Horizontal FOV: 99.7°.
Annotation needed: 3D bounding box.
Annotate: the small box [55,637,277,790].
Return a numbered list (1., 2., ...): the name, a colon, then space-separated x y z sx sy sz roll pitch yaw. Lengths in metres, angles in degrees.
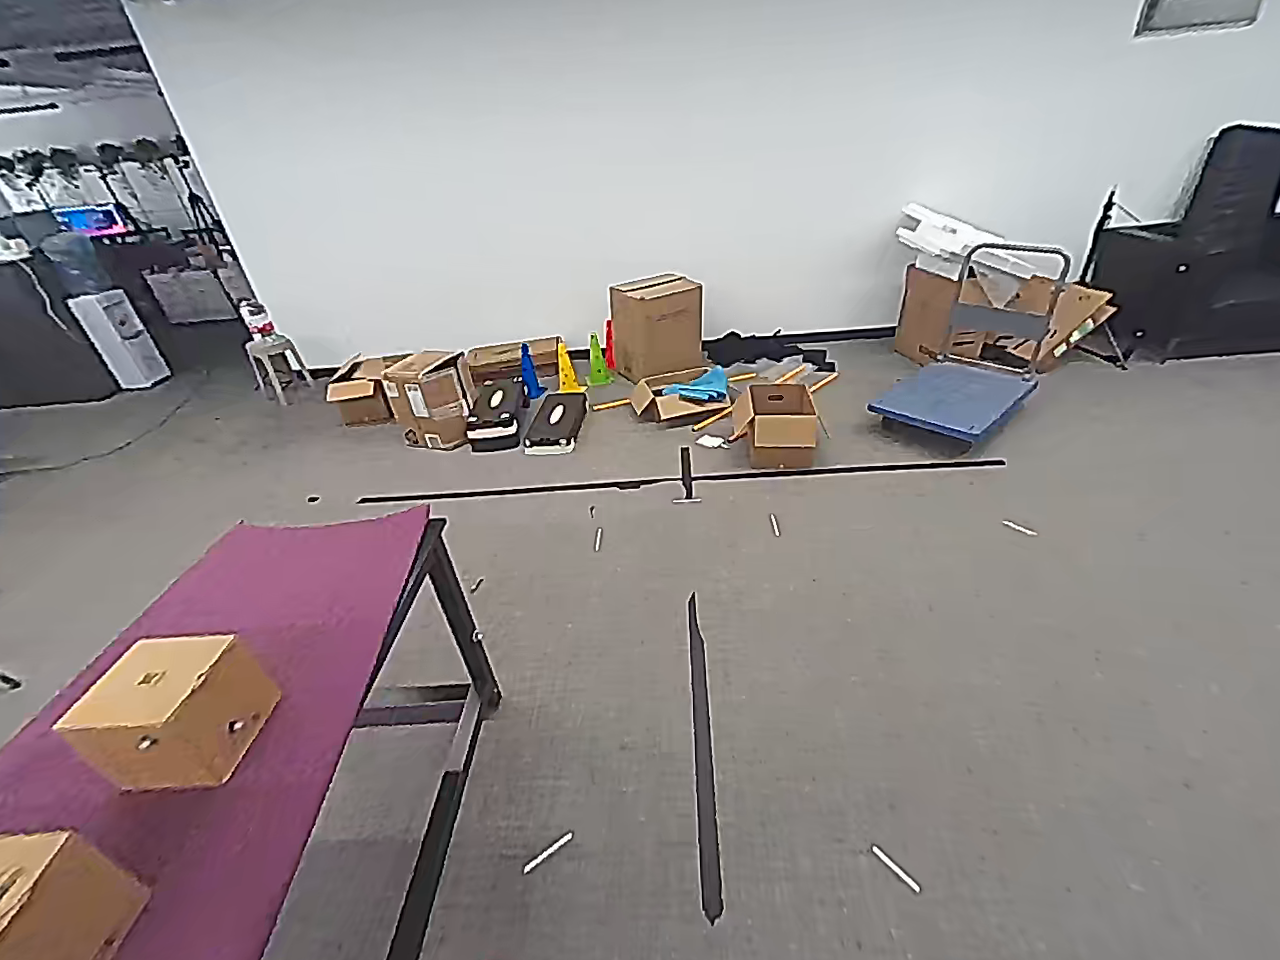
1. small box: -0.749 0.380 0.880 0.179 0.176 0.168 -4 32 2
